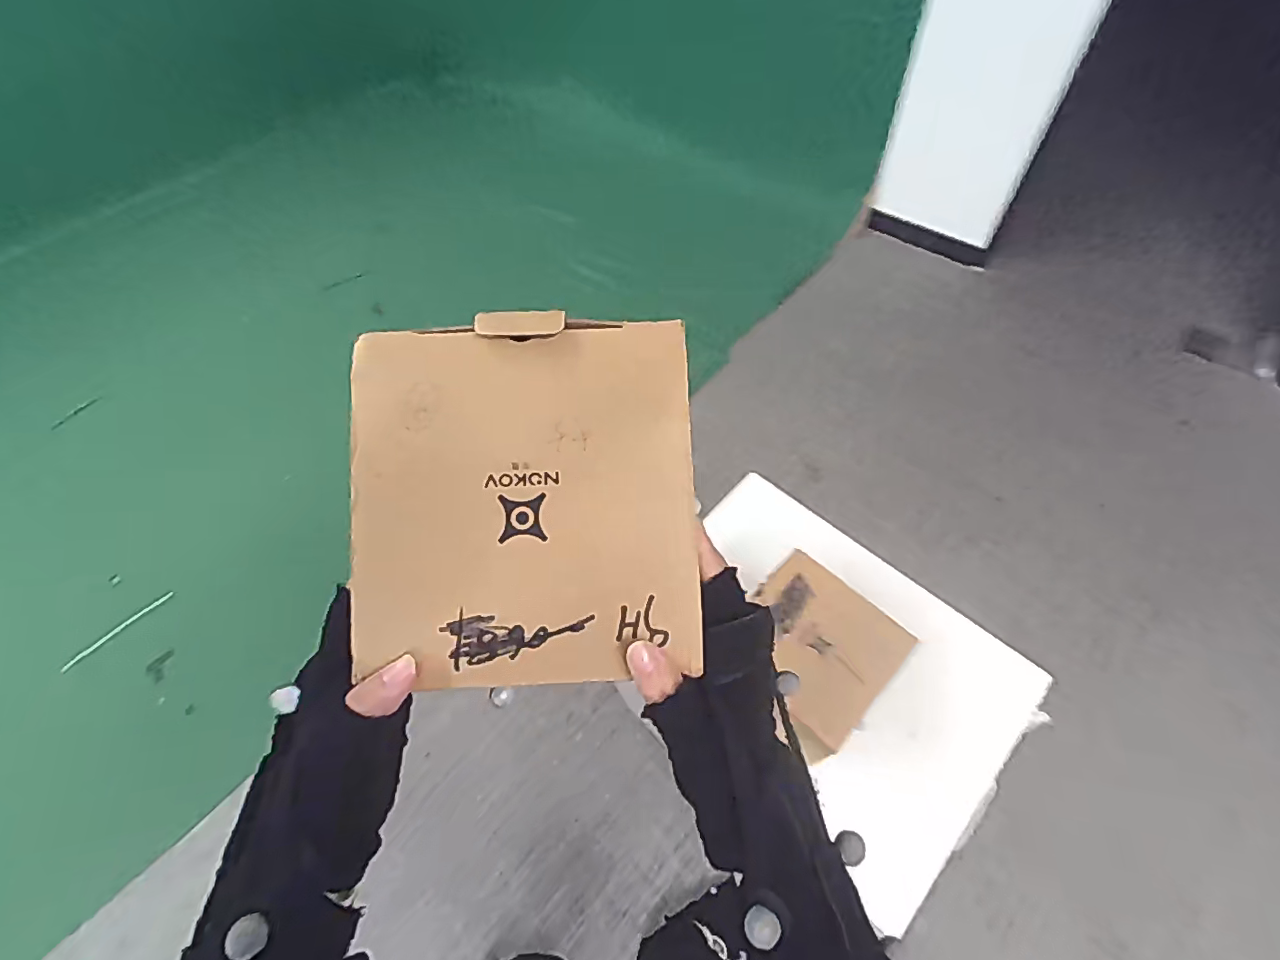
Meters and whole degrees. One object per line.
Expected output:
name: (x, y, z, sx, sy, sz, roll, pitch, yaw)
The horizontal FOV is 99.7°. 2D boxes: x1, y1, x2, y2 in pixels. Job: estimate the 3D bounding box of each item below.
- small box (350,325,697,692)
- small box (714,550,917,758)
small box: (-0.064, 0.020, 0.352, 0.168, 0.176, 0.179, -6, 84, -3)
small box: (0.209, 0.230, 0.700, 0.168, 0.176, 0.179, -40, 62, -19)
